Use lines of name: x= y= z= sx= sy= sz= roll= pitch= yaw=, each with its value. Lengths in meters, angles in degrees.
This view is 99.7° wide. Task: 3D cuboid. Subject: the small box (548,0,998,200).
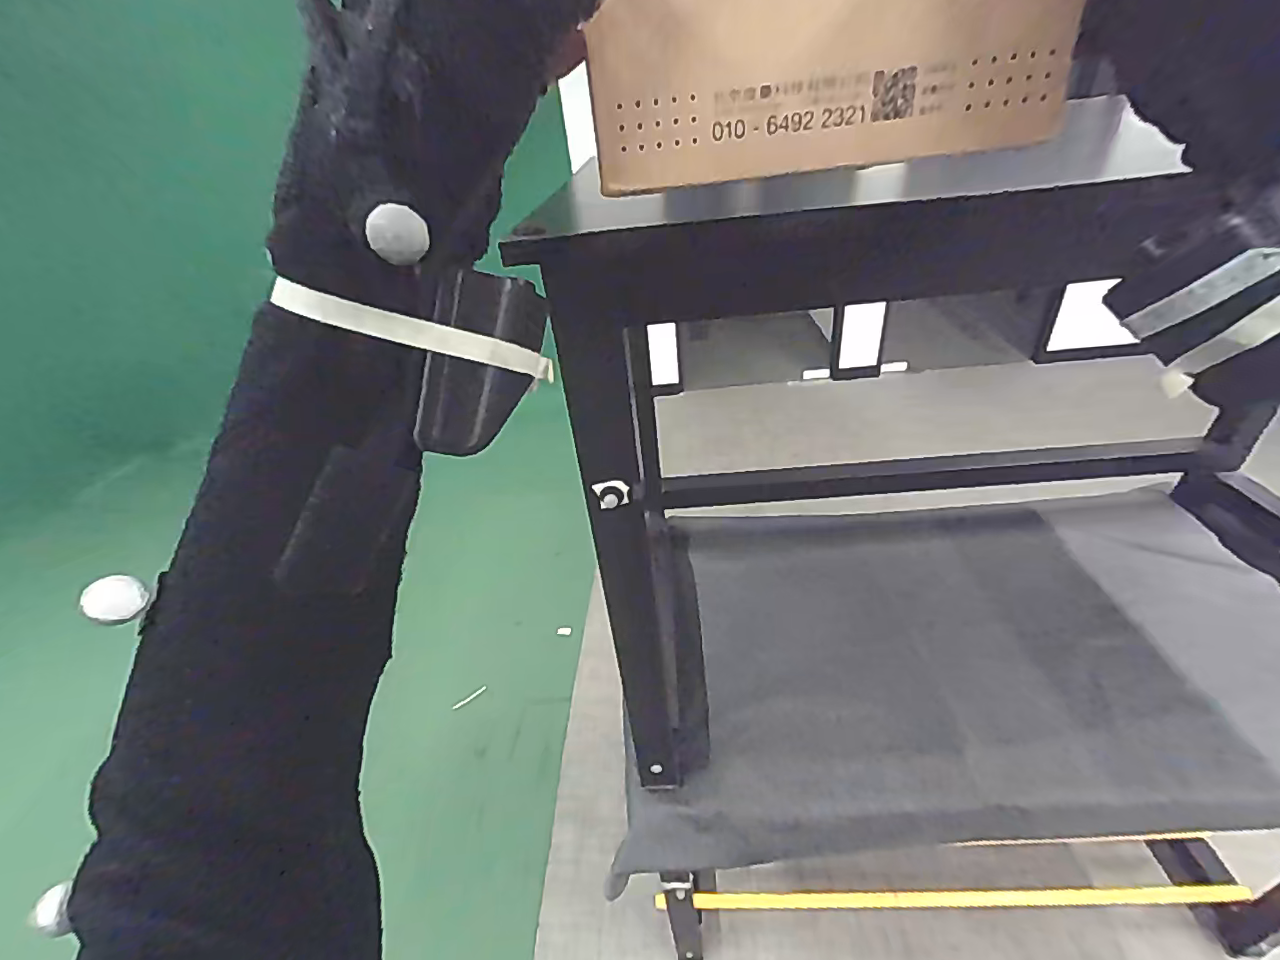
small box: x=0.046 y=-0.233 z=0.248 sx=0.168 sy=0.176 sz=0.179 roll=-5 pitch=26 yaw=2
